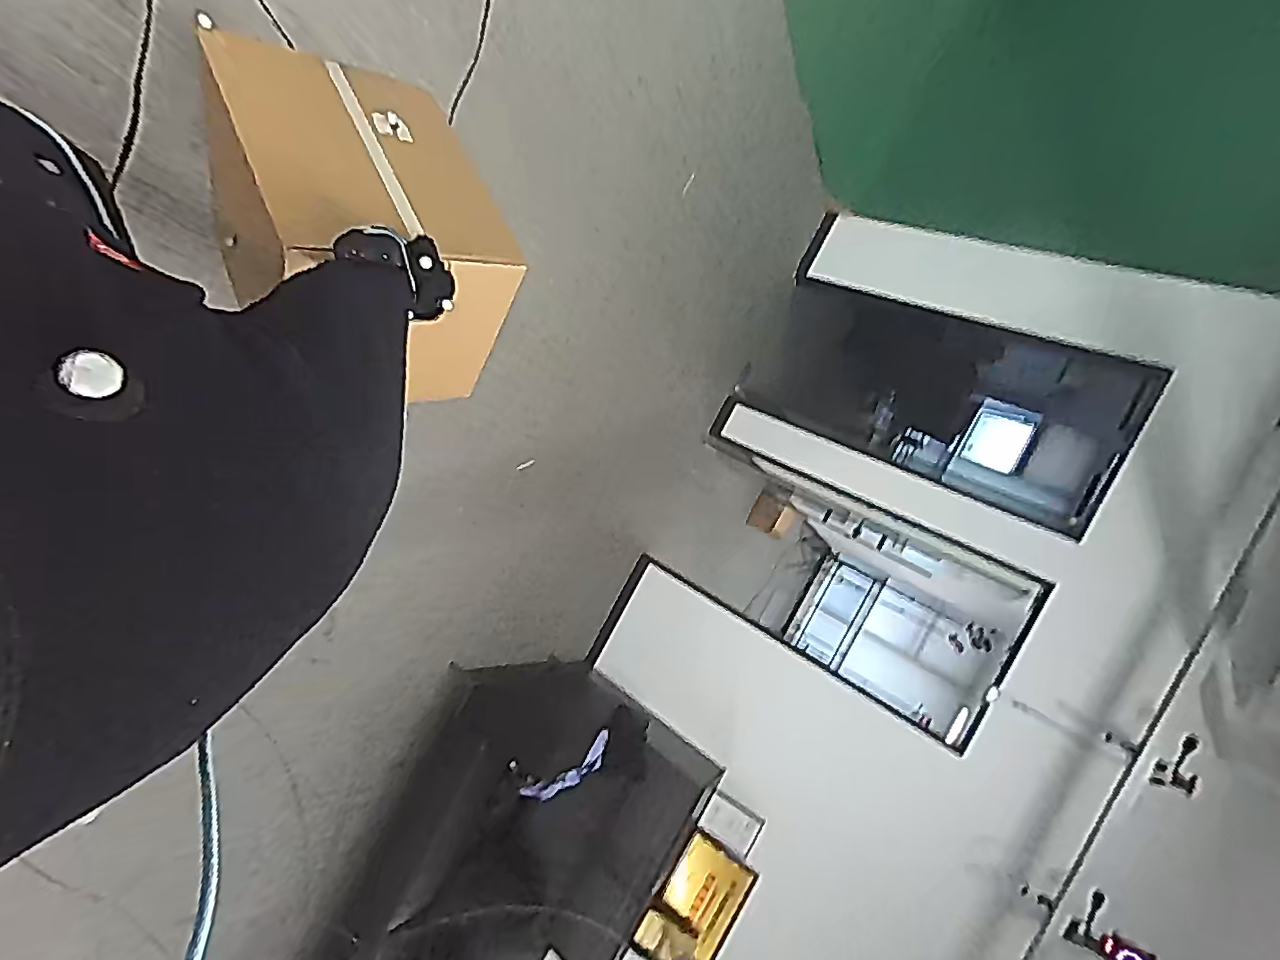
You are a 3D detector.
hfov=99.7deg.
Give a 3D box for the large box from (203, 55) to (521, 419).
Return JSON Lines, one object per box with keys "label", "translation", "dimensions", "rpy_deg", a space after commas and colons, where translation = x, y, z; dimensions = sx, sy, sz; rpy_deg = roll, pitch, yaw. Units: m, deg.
{"label": "large box", "translation": [-0.454, -0.360, 0.873], "dimensions": [0.320, 0.408, 0.320], "rpy_deg": [-14, 157, -42]}
